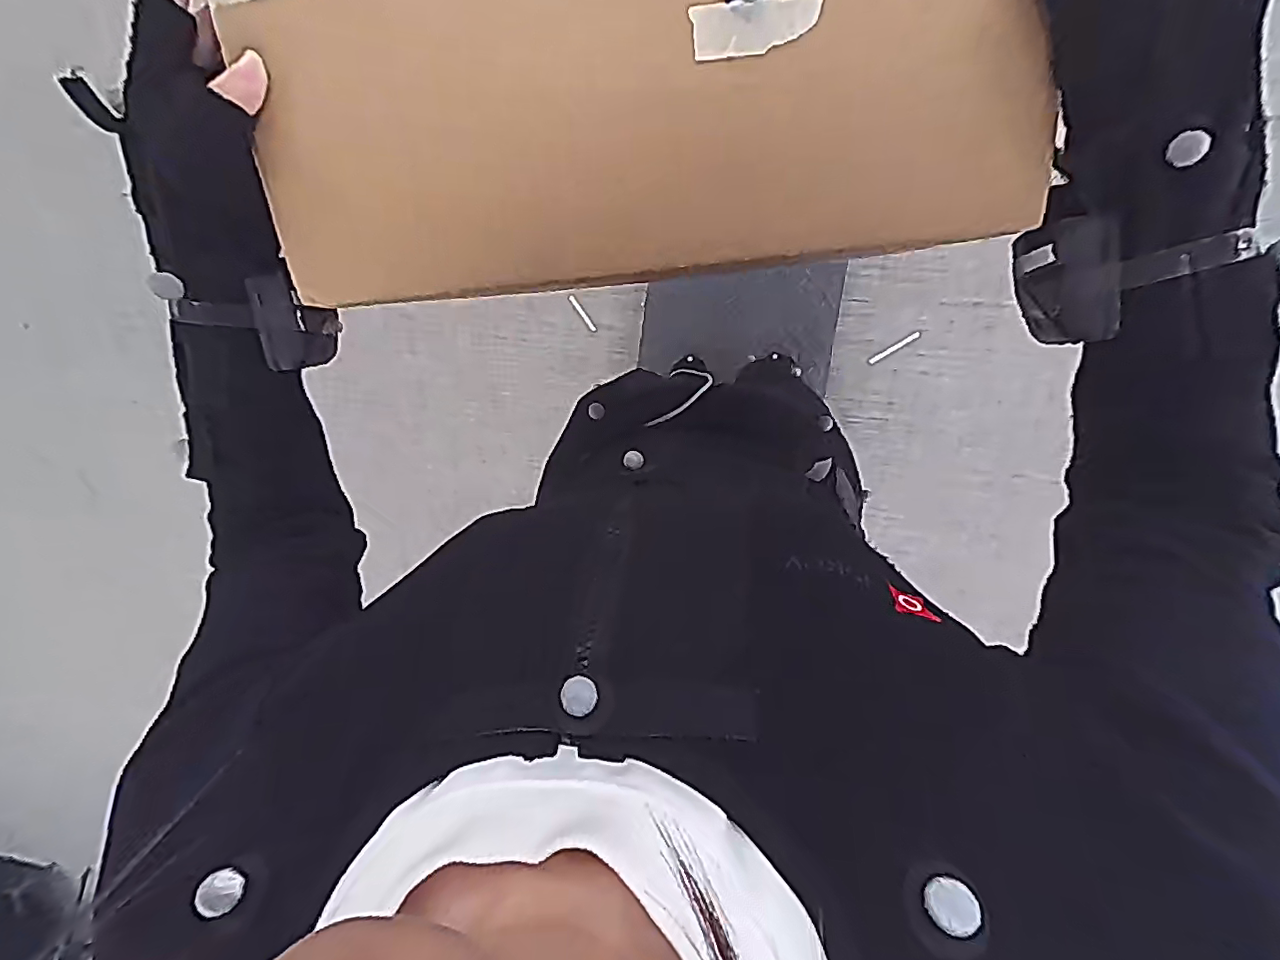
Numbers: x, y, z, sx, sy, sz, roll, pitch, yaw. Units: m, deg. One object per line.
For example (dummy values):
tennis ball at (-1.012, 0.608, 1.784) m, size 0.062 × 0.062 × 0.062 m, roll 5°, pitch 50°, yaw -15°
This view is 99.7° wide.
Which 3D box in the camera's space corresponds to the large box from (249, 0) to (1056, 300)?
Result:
large box at (0.005, -0.318, 0.395) m, size 0.408 × 0.320 × 0.320 m, roll -3°, pitch 110°, yaw 8°
